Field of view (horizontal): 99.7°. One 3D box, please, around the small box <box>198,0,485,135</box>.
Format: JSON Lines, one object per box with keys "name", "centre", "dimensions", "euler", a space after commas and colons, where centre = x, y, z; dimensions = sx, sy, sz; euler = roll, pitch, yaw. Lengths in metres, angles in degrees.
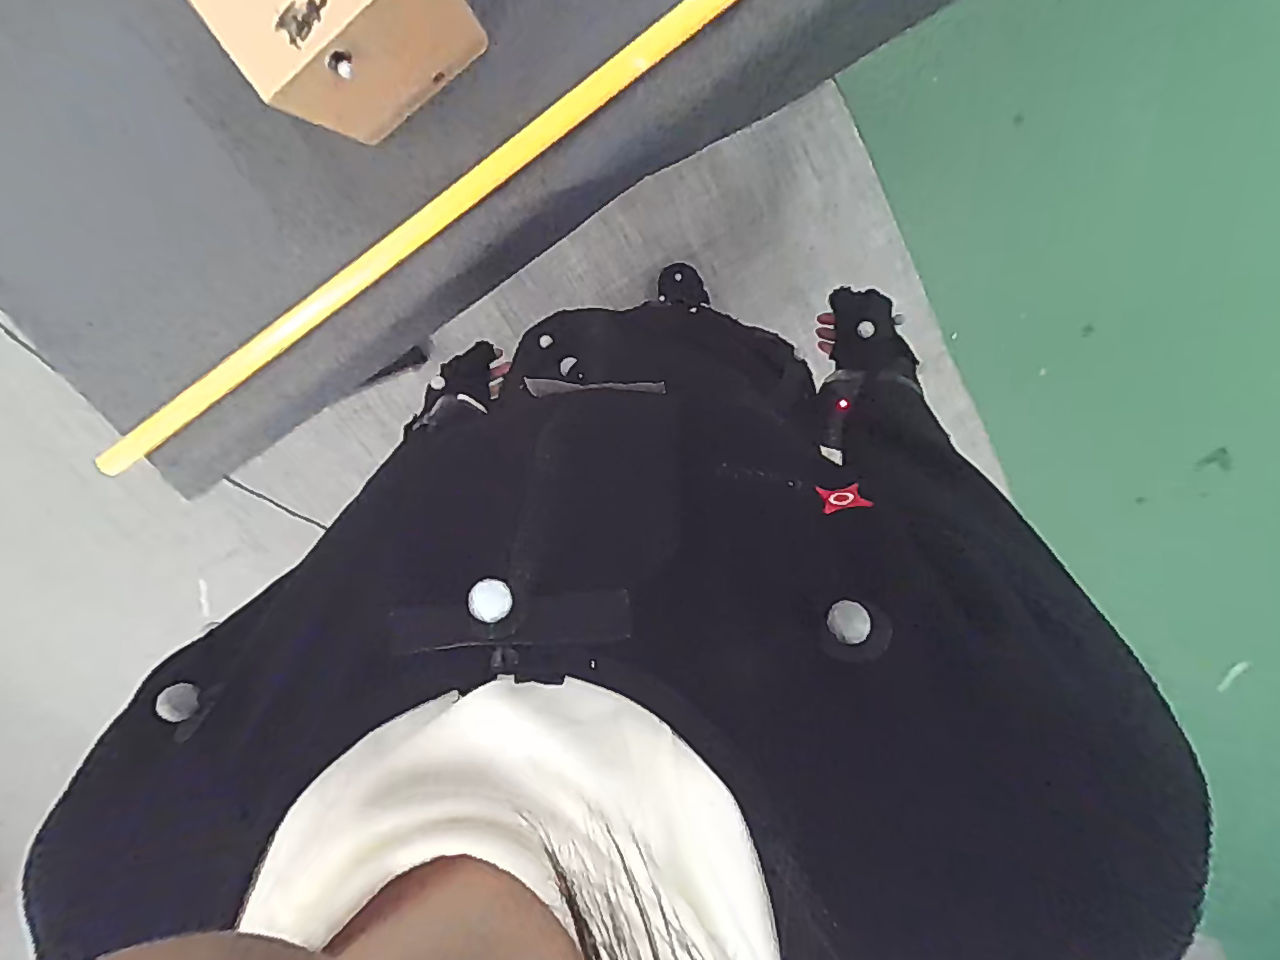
{"name": "small box", "centre": [-0.268, -0.441, 0.462], "dimensions": [0.168, 0.176, 0.179], "euler": [-30, 106, 15]}
